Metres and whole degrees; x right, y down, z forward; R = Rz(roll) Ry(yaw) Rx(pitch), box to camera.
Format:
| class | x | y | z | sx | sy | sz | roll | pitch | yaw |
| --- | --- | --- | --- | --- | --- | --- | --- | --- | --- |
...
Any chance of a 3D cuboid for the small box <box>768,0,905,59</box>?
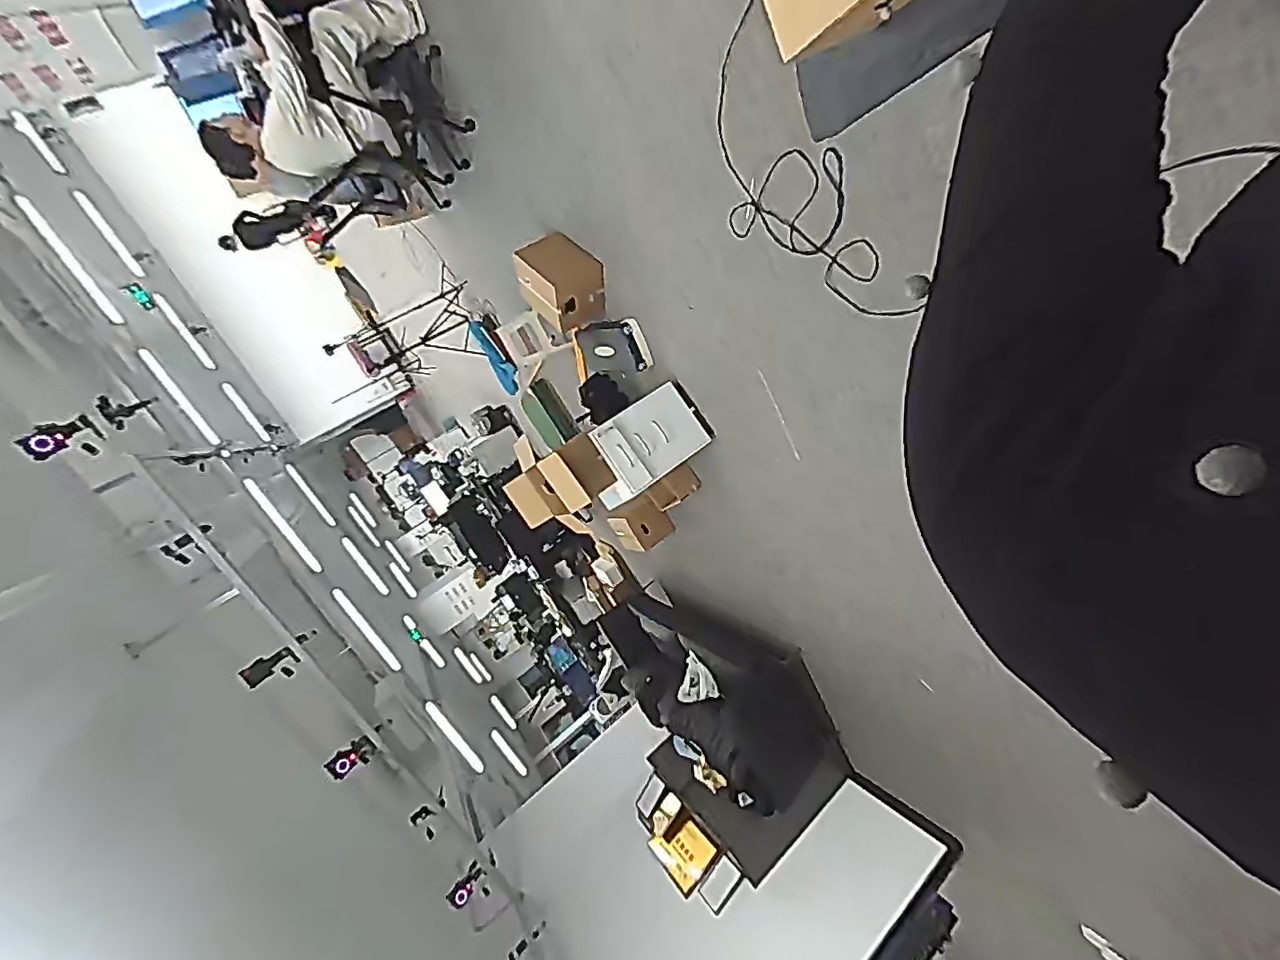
| class | x | y | z | sx | sy | sz | roll | pitch | yaw |
| --- | --- | --- | --- | --- | --- | --- | --- | --- | --- |
| small box | 0.232 | -0.574 | 0.532 | 0.179 | 0.176 | 0.168 | 13 | 135 | 62 |
